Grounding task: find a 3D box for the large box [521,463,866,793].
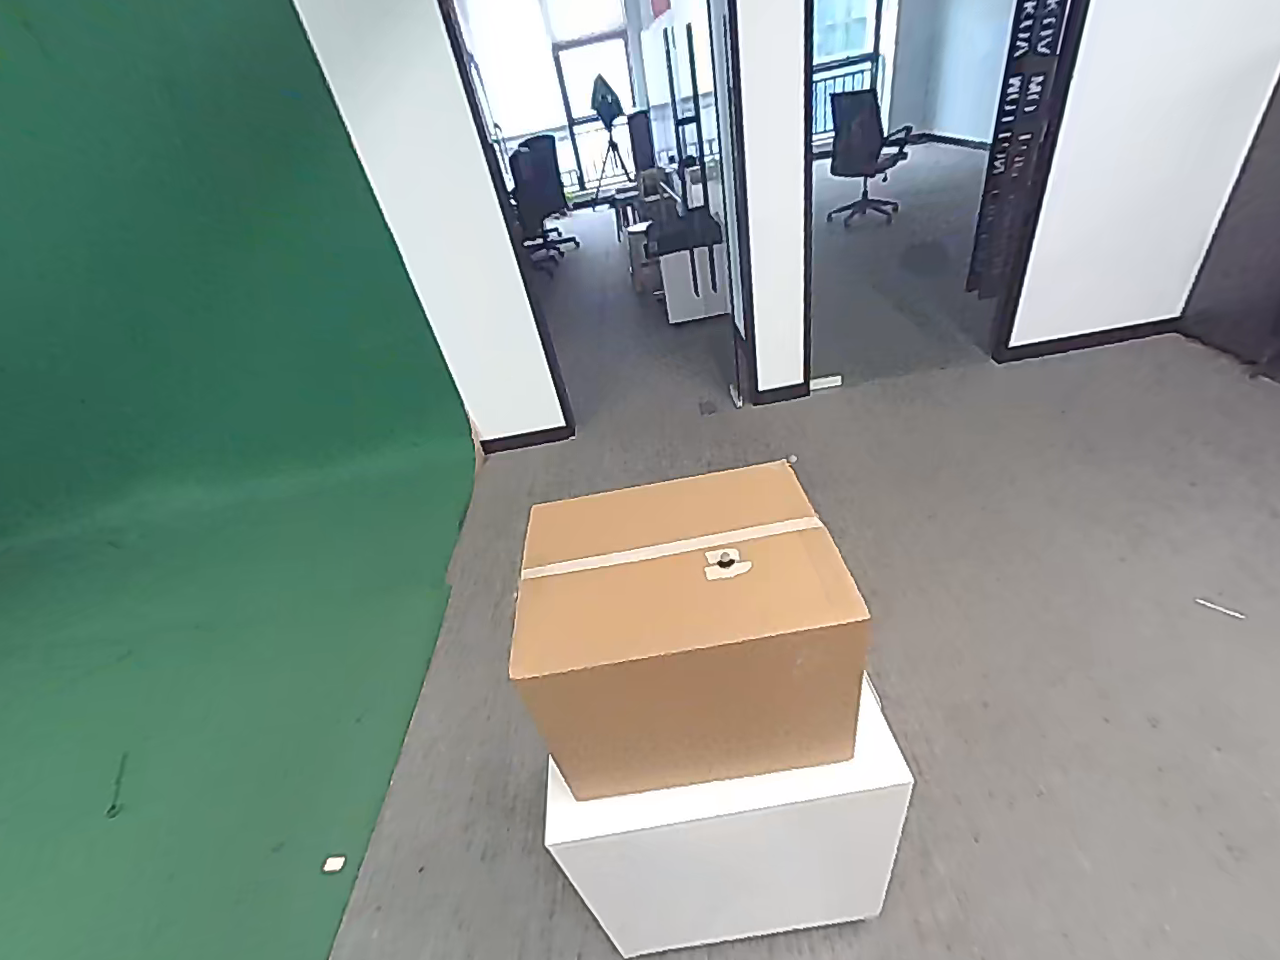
[{"bbox_3d":[0.067,0.214,0.809,0.408,0.320,0.320,-10,36,1],"label":"large box"}]
